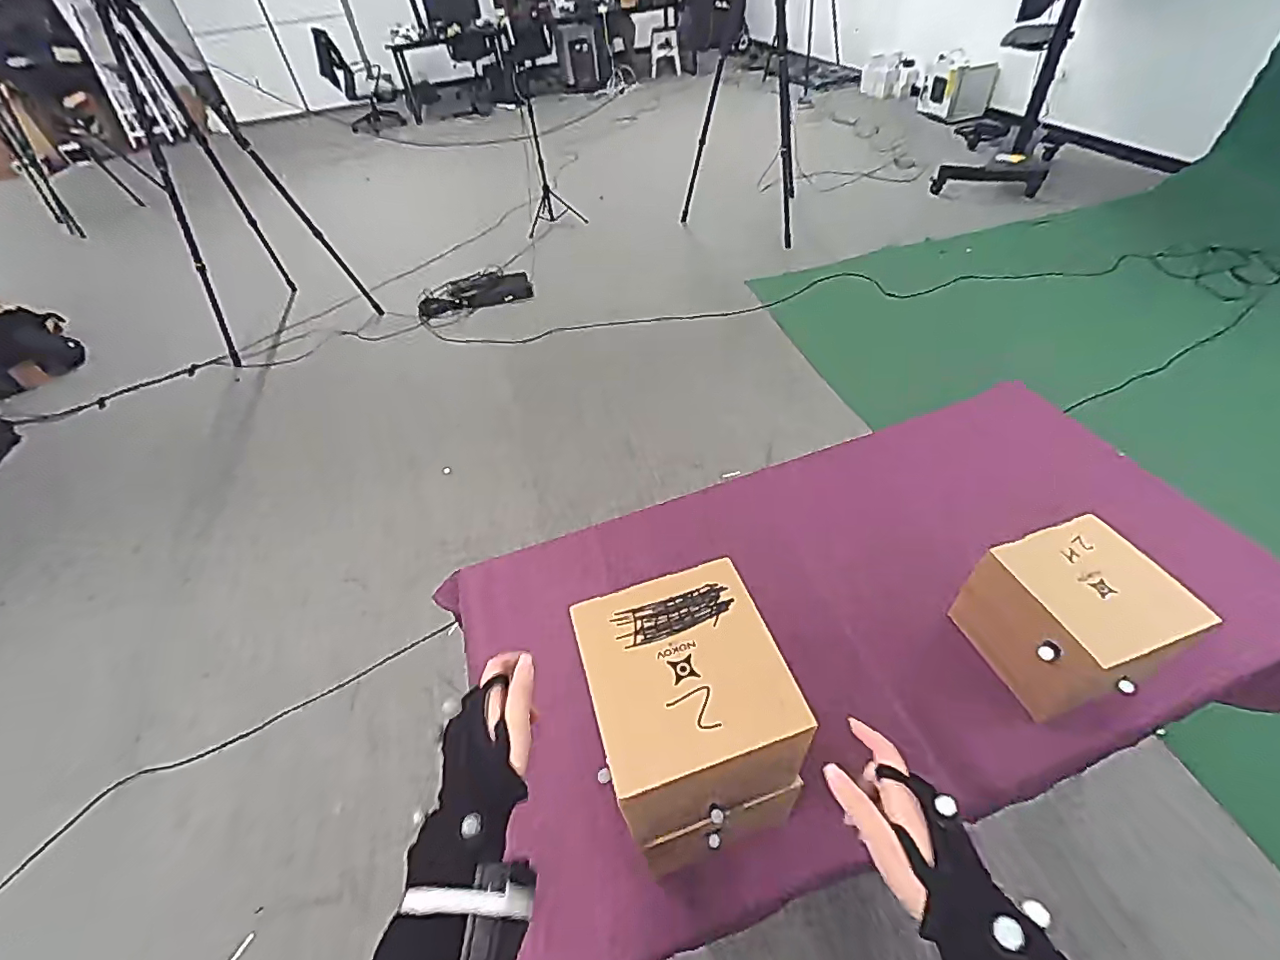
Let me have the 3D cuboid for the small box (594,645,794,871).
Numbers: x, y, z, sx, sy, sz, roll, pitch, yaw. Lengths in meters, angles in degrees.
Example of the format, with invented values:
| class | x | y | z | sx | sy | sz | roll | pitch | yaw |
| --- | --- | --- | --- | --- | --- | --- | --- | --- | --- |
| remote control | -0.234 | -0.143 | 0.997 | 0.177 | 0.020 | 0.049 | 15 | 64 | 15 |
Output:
| class | x | y | z | sx | sy | sz | roll | pitch | yaw |
| --- | --- | --- | --- | --- | --- | --- | --- | --- | --- |
| small box | 0.060 | 0.331 | 0.641 | 0.179 | 0.176 | 0.168 | -16 | 47 | -9 |

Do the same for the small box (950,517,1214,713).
| class | x | y | z | sx | sy | sz | roll | pitch | yaw |
| --- | --- | --- | --- | --- | --- | --- | --- | --- | --- |
| small box | 0.557 | 0.184 | 0.715 | 0.168 | 0.176 | 0.179 | -16 | 46 | -8 |
